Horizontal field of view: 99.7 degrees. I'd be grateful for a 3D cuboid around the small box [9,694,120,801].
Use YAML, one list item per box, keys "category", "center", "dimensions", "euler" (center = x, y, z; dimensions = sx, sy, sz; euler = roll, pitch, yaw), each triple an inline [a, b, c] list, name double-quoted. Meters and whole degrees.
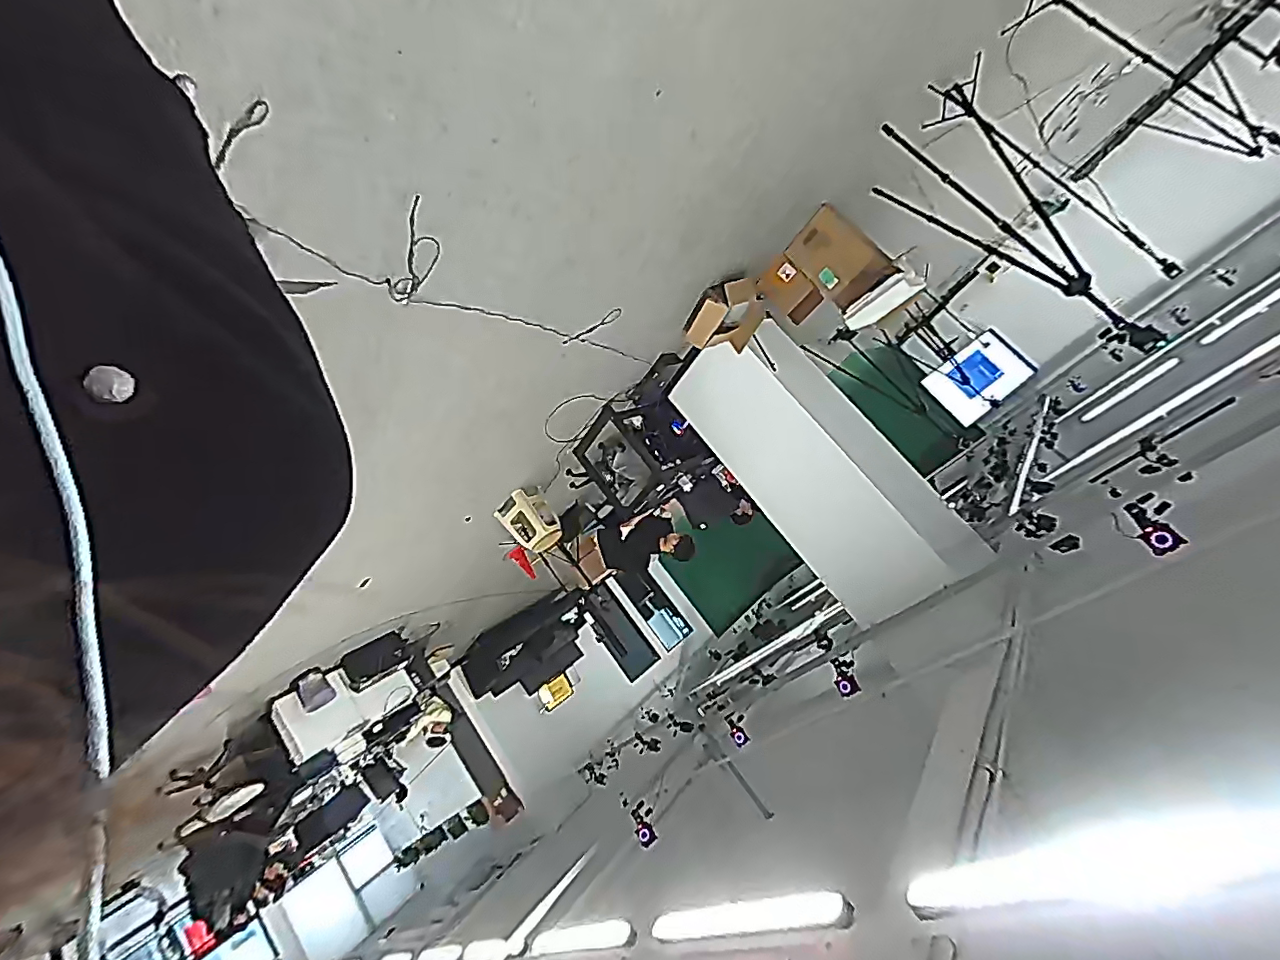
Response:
- category: "small box"
  center: [-1.521, 0.701, 1.434]
  dimensions: [0.168, 0.176, 0.179]
  euler: [-21, 158, -52]
